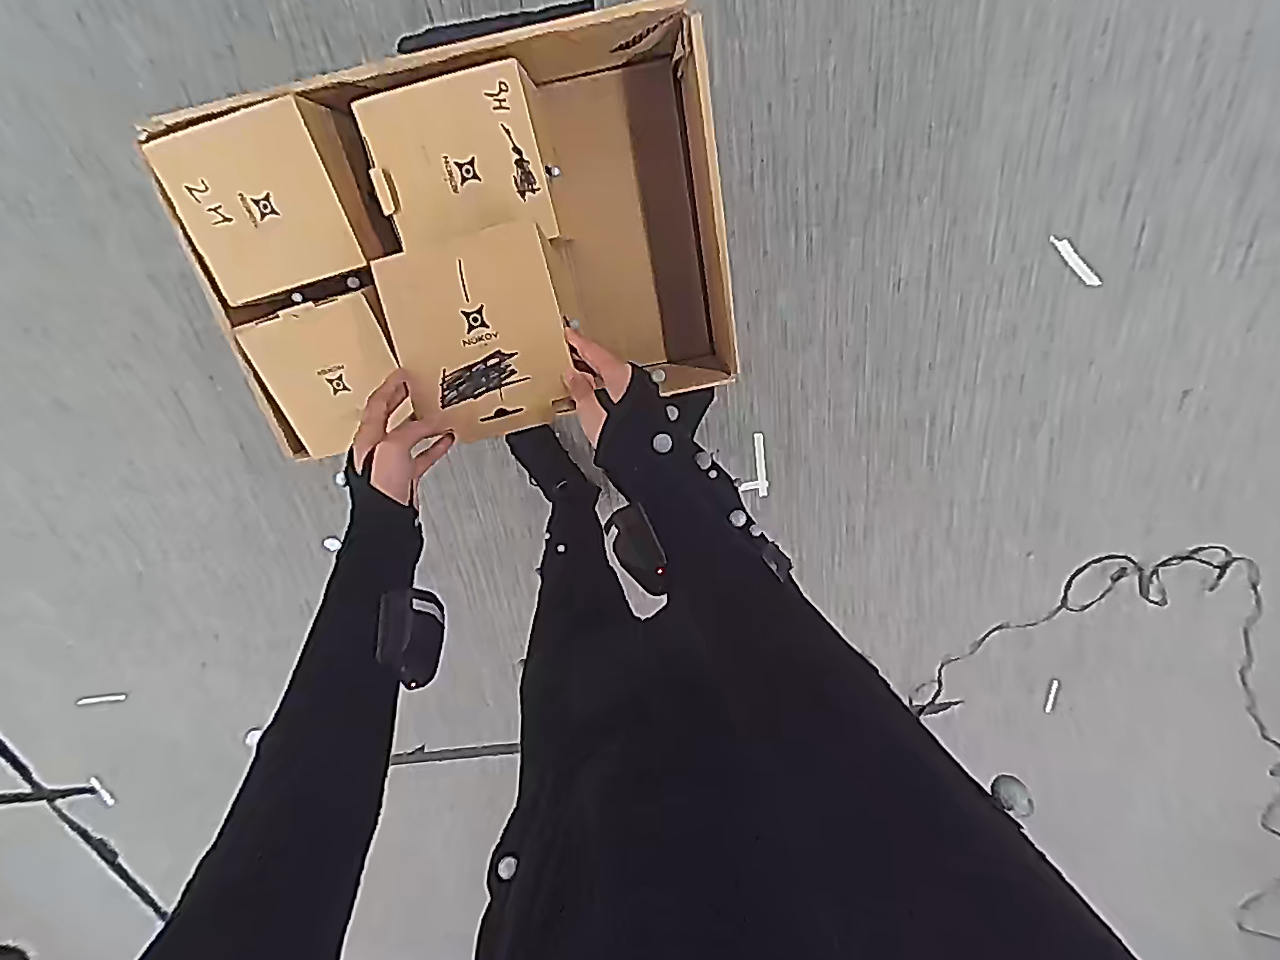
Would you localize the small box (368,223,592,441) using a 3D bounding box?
[{"bbox_3d":[-0.158,-0.150,0.599,0.168,0.176,0.179,-14,96,3],"label":"small box"}]
